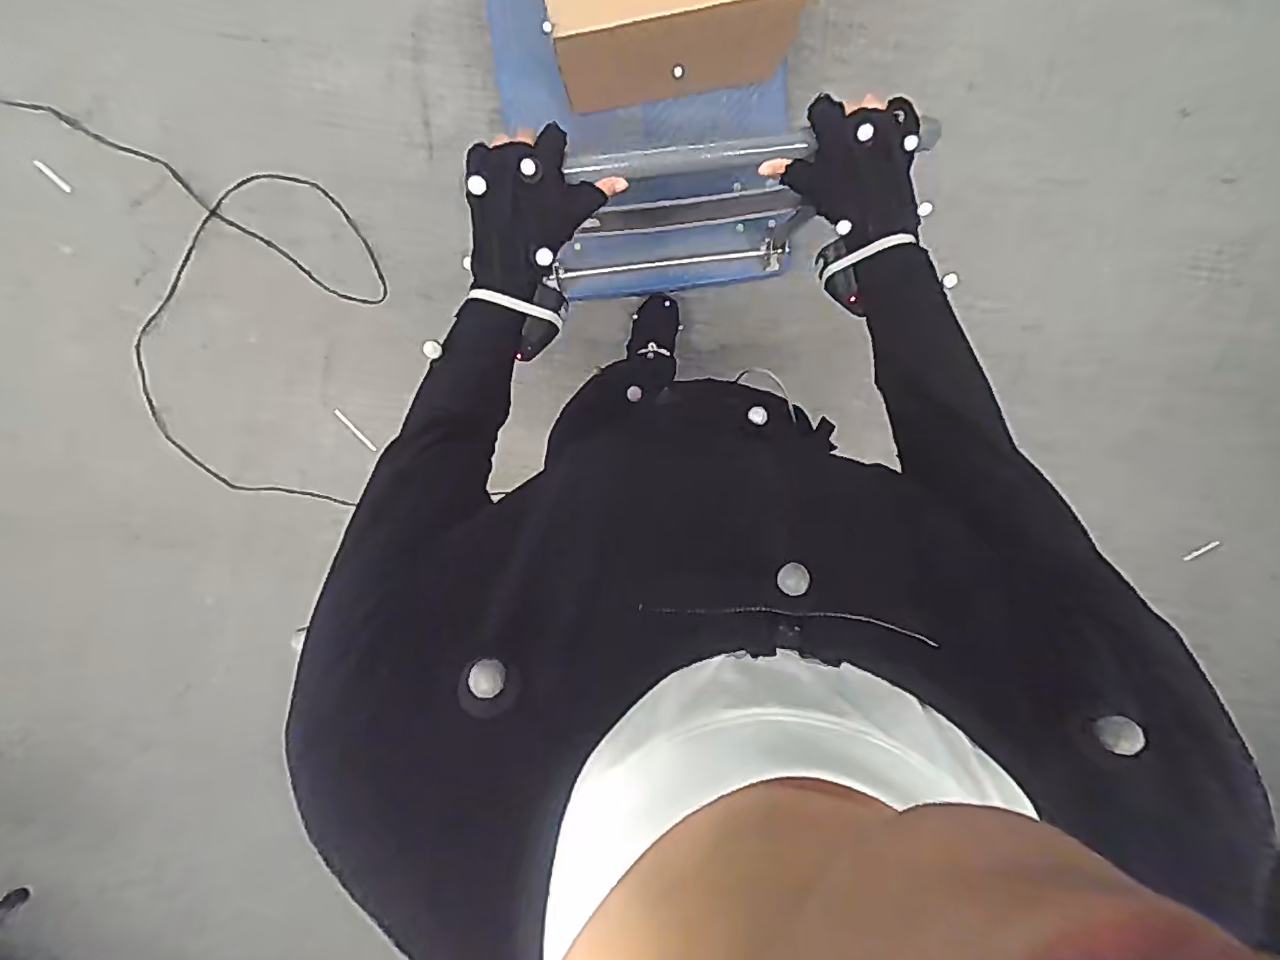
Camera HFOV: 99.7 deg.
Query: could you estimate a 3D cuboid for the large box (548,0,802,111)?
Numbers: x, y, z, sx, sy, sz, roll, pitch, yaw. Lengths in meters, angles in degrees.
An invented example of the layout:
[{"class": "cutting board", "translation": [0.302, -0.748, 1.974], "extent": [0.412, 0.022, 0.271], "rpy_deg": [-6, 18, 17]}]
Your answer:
[{"class": "large box", "translation": [0.039, -0.897, 0.923], "extent": [0.408, 0.320, 0.320], "rpy_deg": [-11, 105, 4]}]
